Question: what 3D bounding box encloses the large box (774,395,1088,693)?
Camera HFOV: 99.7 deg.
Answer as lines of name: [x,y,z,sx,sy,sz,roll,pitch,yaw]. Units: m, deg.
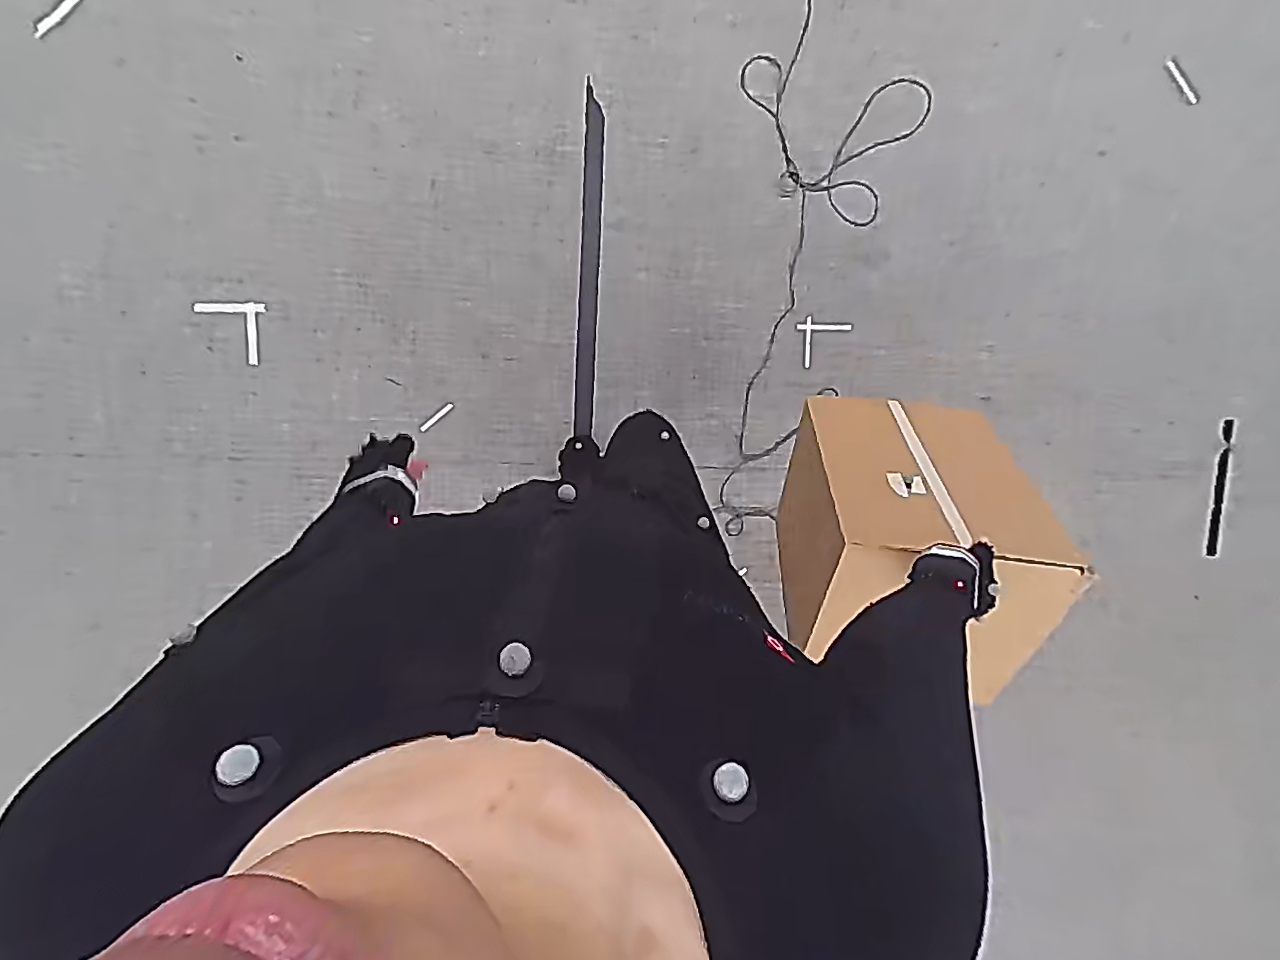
large box: [0.438,0.095,0.949,0.320,0.408,0.320,6,129,3]
